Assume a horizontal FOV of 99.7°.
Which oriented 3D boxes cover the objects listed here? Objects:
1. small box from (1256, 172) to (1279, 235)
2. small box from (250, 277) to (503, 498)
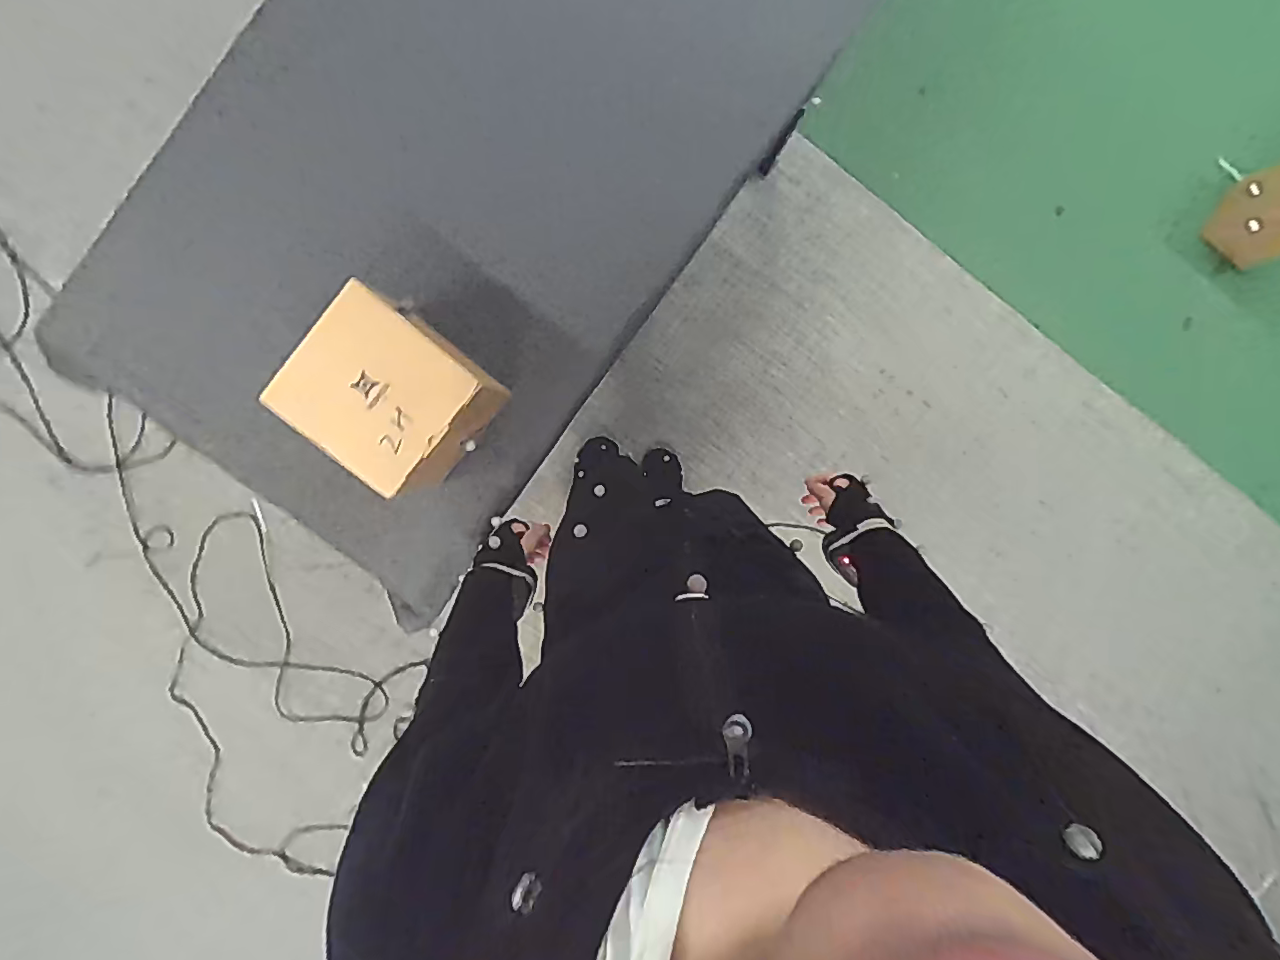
[{"bbox_3d":[1.653,-0.699,1.283,0.168,0.176,0.179,35,91,-6],"label":"small box"},{"bbox_3d":[-0.290,-0.099,0.640,0.179,0.176,0.168,39,92,-6],"label":"small box"}]
